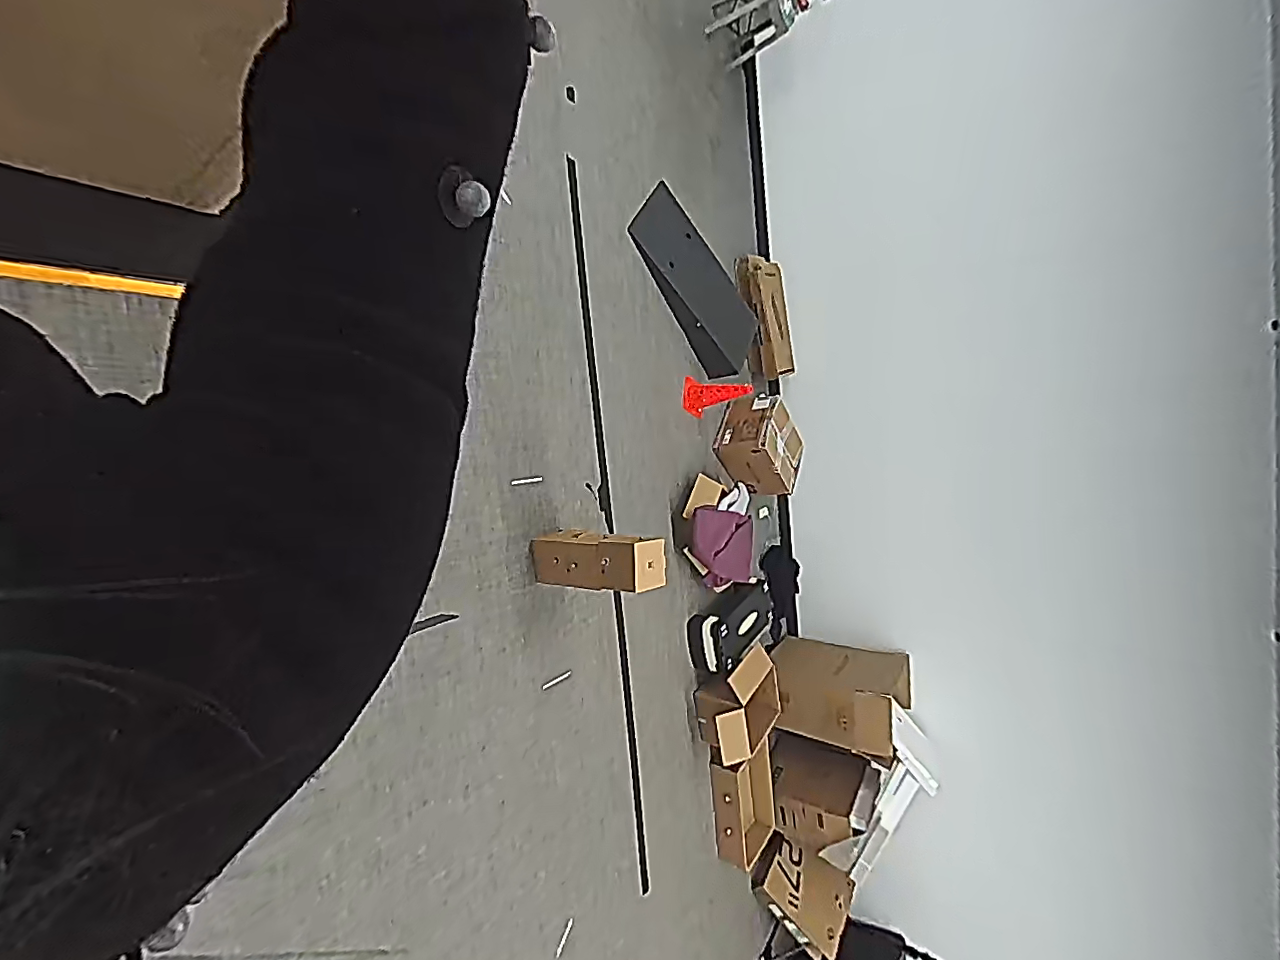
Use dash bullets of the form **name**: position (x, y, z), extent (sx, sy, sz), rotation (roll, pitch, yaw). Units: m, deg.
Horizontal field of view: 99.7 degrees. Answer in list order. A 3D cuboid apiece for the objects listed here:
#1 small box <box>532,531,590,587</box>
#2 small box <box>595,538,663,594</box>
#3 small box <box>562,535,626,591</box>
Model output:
- **small box**: position (-0.296, 0.296, 2.064), extent (0.168, 0.176, 0.179), rotation (-16, 102, -52)
- **small box**: position (-0.036, 0.292, 1.864), extent (0.179, 0.176, 0.168), rotation (-1, 88, -52)
- **small box**: position (-0.163, 0.296, 1.967), extent (0.179, 0.176, 0.168), rotation (-10, 96, -53)
